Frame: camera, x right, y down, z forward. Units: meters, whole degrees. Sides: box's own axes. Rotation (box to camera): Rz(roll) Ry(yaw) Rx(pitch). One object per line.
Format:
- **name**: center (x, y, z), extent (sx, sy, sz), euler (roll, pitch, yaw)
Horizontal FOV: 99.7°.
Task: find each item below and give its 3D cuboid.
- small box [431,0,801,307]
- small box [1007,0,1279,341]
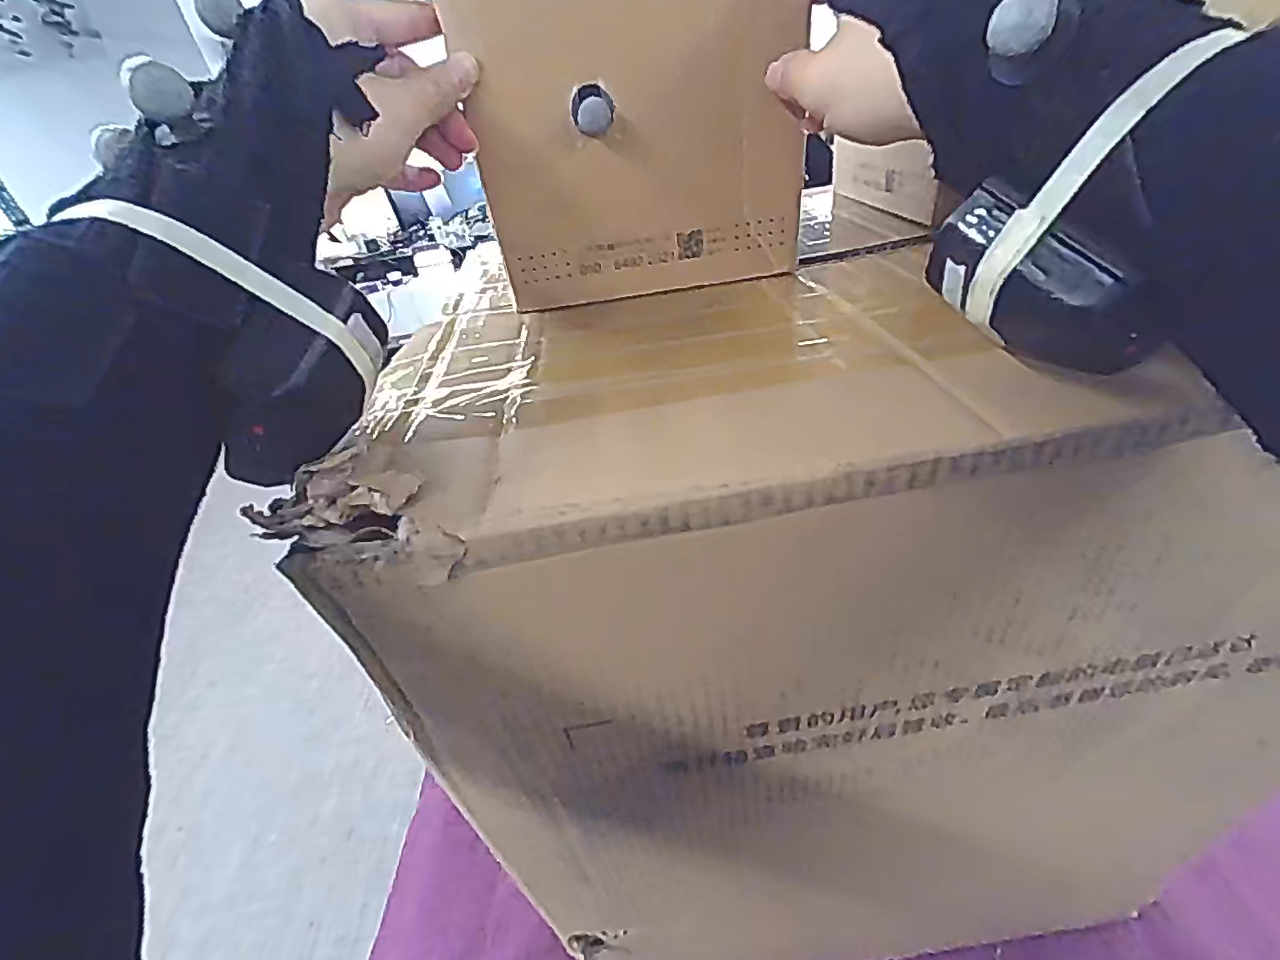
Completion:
- **small box**: center (-0.006, -0.216, 0.329), extent (0.168, 0.176, 0.179), euler (-9, 38, 0)
- **small box**: center (0.267, -0.163, 0.189), extent (0.179, 0.176, 0.168), euler (-12, 36, 0)
